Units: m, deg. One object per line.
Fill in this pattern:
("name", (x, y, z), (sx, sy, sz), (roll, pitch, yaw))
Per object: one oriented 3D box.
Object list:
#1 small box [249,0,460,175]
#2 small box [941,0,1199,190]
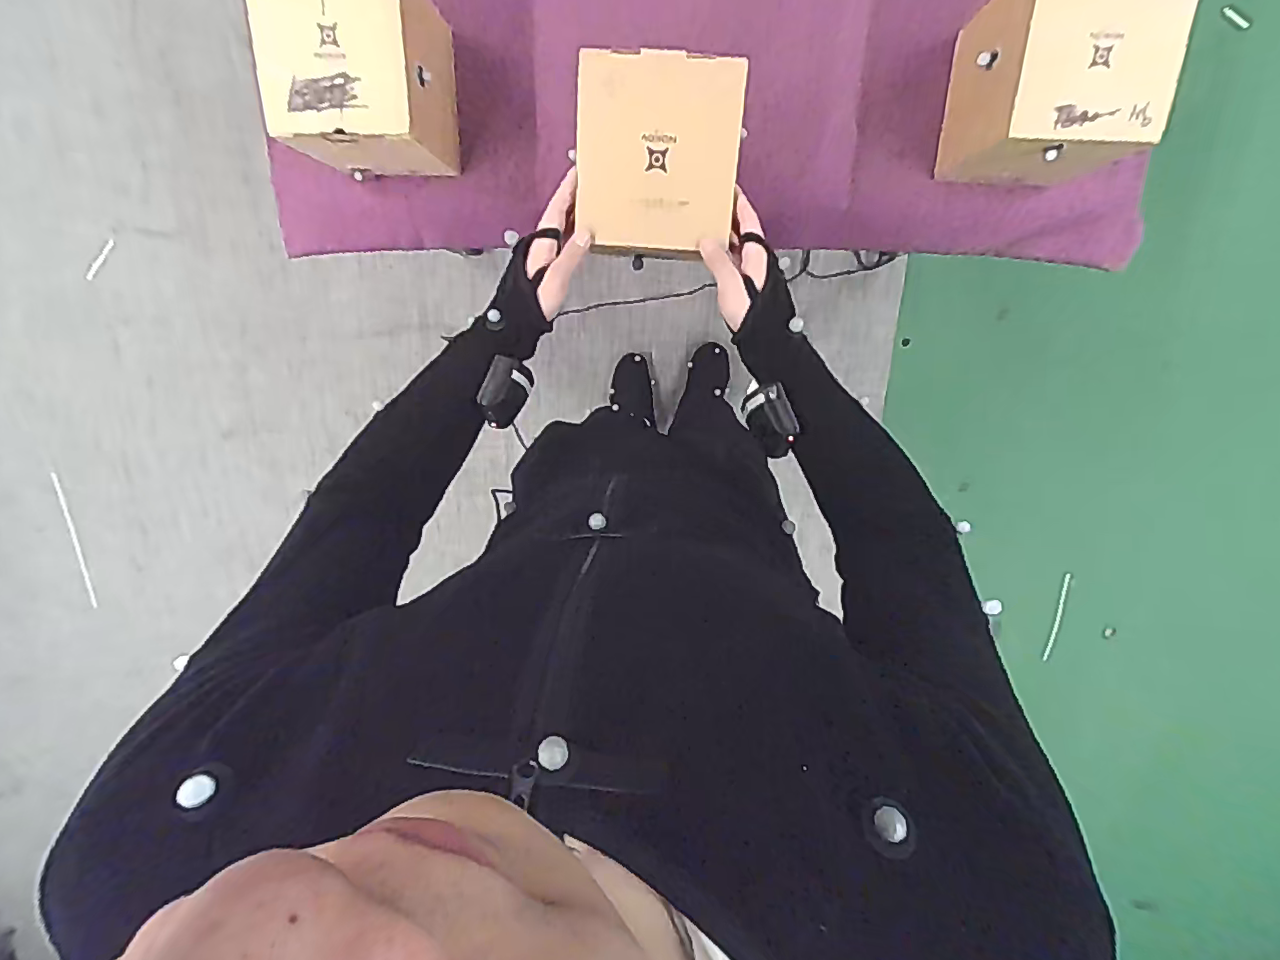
("small box", (-0.328, -0.485, 0.656), (0.168, 0.176, 0.179), (1, 105, 0))
("small box", (0.489, -0.468, 0.643), (0.168, 0.176, 0.179), (3, 104, 2))
